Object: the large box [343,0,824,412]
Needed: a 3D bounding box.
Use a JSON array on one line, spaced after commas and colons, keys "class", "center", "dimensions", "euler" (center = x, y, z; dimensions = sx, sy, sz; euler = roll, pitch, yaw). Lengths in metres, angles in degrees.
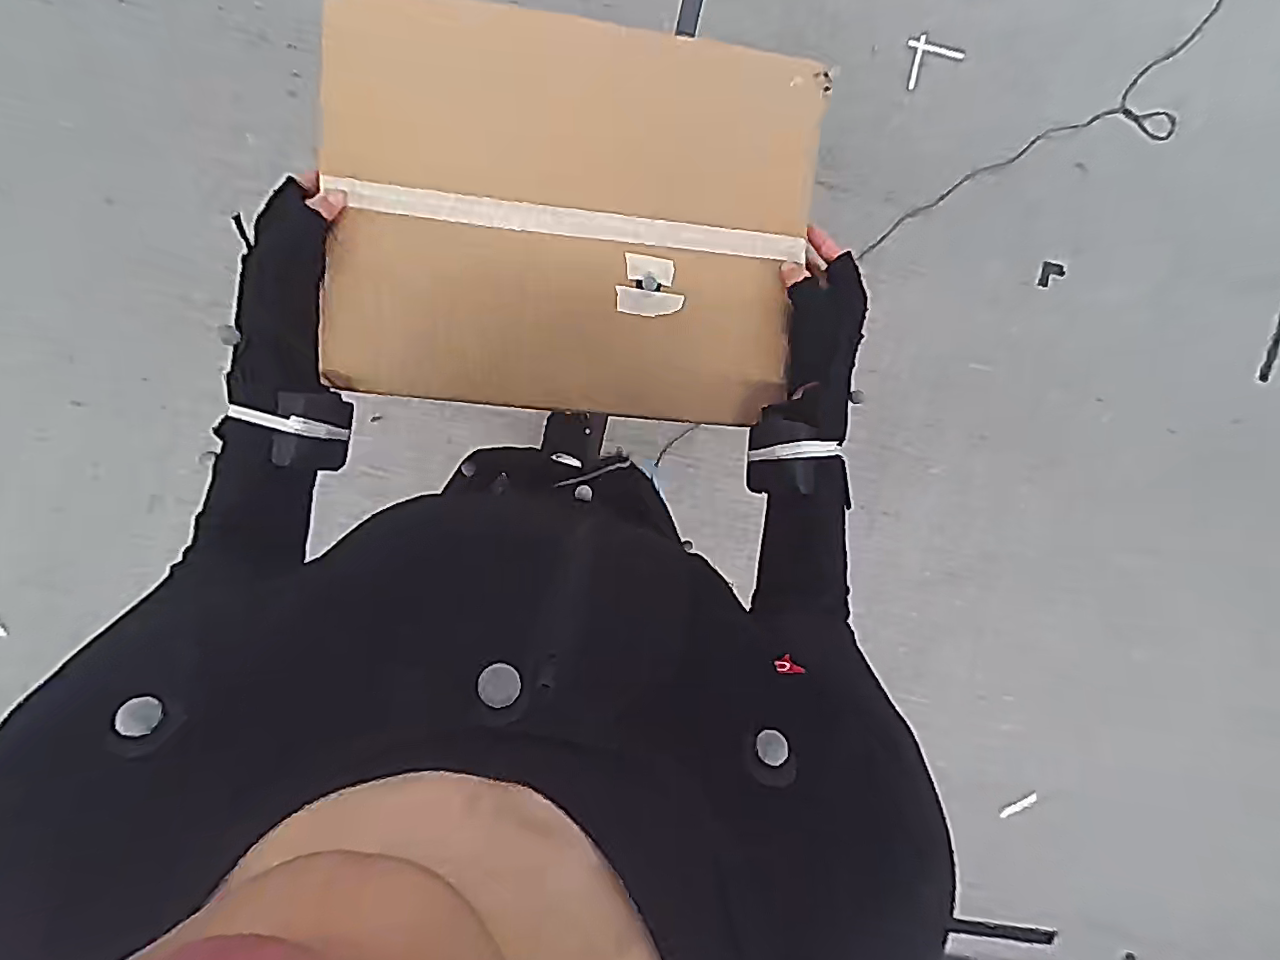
[{"class": "large box", "center": [-0.066, -0.250, 0.613], "dimensions": [0.408, 0.320, 0.320], "euler": [4, 99, -8]}]
